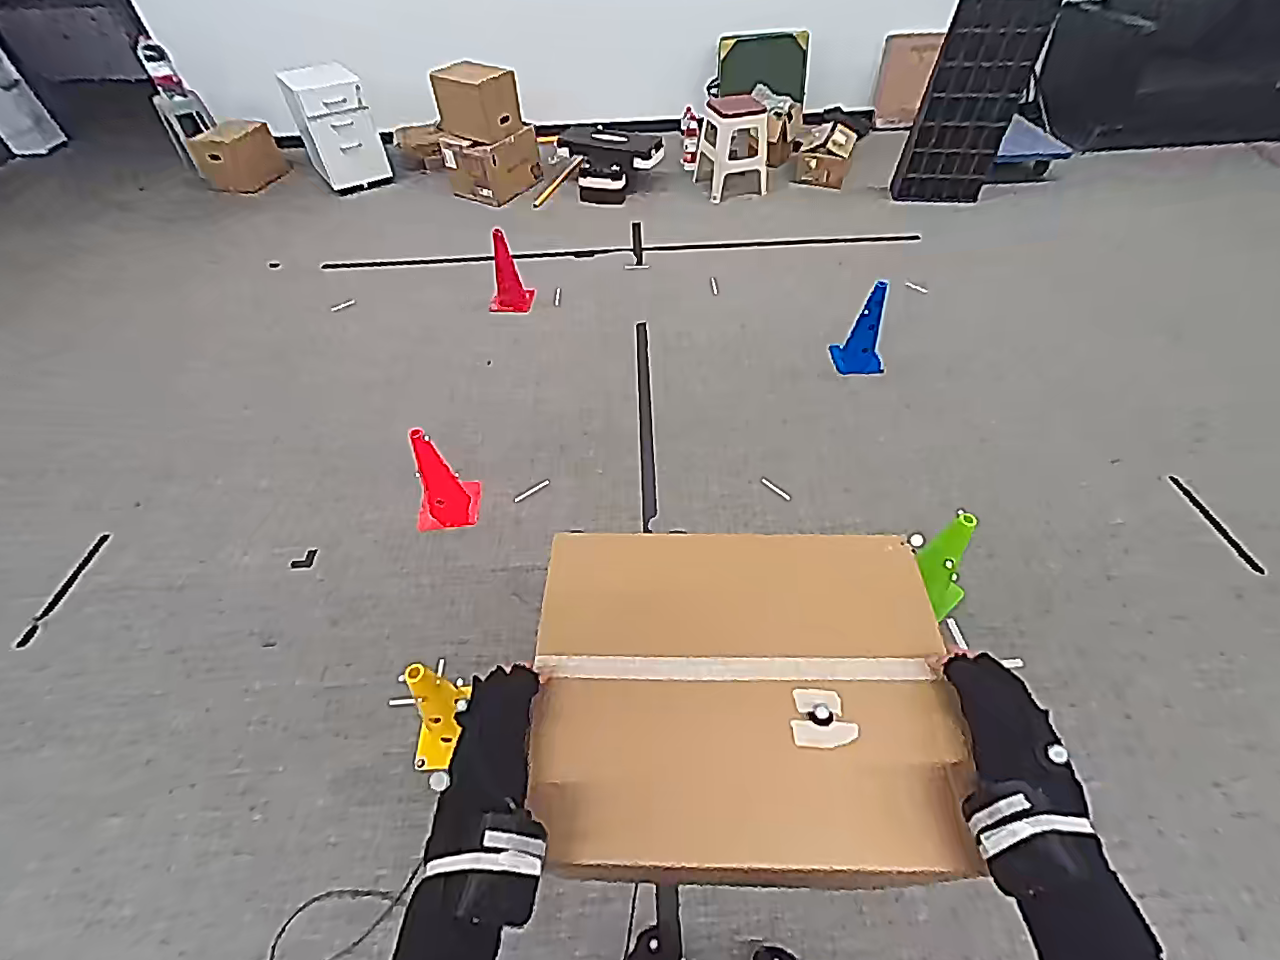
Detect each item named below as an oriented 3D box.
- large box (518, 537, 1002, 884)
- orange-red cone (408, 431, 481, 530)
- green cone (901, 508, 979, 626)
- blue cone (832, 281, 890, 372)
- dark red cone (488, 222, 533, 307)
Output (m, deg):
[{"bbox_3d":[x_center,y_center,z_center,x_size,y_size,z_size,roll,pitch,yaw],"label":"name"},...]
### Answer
[{"bbox_3d":[0.099,0.280,0.646,0.408,0.320,0.320,0,51,2],"label":"large box"},{"bbox_3d":[-0.666,-0.021,1.749,0.198,0.360,0.199,-5,51,-1],"label":"orange-red cone"},{"bbox_3d":[0.832,0.207,1.491,0.202,0.368,0.200,-32,56,-25],"label":"green cone"},{"bbox_3d":[0.941,-0.640,2.235,0.192,0.380,0.193,0,50,1],"label":"blue cone"},{"bbox_3d":[-0.648,-1.025,2.576,0.201,0.394,0.202,2,50,3],"label":"dark red cone"}]
